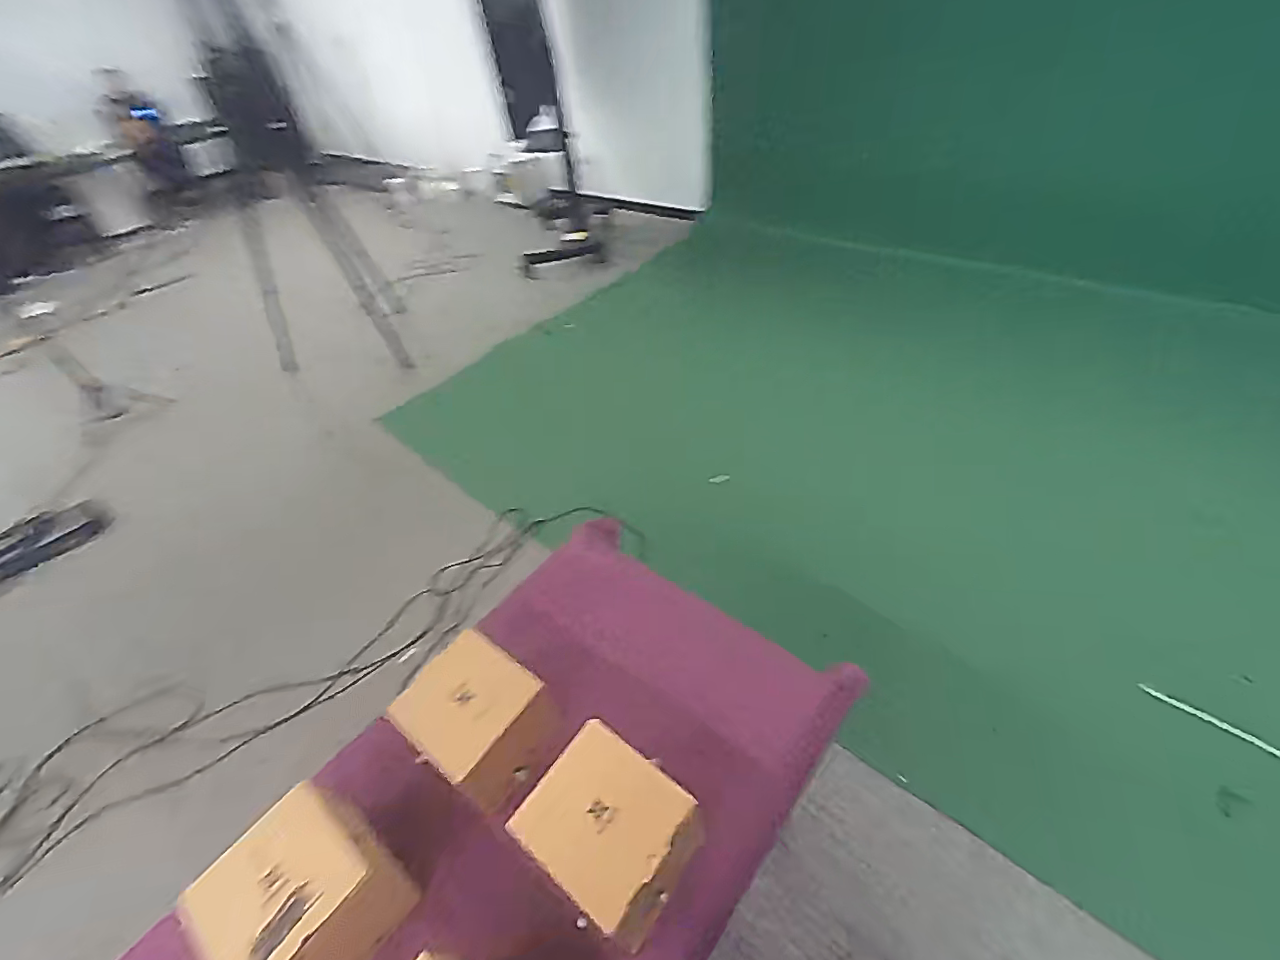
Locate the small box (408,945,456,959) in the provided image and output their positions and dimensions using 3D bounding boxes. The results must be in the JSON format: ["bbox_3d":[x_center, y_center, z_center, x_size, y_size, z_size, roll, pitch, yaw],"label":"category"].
[{"bbox_3d":[-0.212,0.643,0.560,0.179,0.176,0.168,25,54,30],"label":"small box"}]

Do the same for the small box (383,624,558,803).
[{"bbox_3d":[-0.256,0.368,0.848,0.179,0.176,0.168,26,55,28],"label":"small box"}]

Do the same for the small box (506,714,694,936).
[{"bbox_3d":[-0.044,0.461,0.722,0.179,0.176,0.168,26,53,30],"label":"small box"}]

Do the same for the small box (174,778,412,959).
[{"bbox_3d":[-0.434,0.536,0.703,0.179,0.176,0.168,25,53,30],"label":"small box"}]
